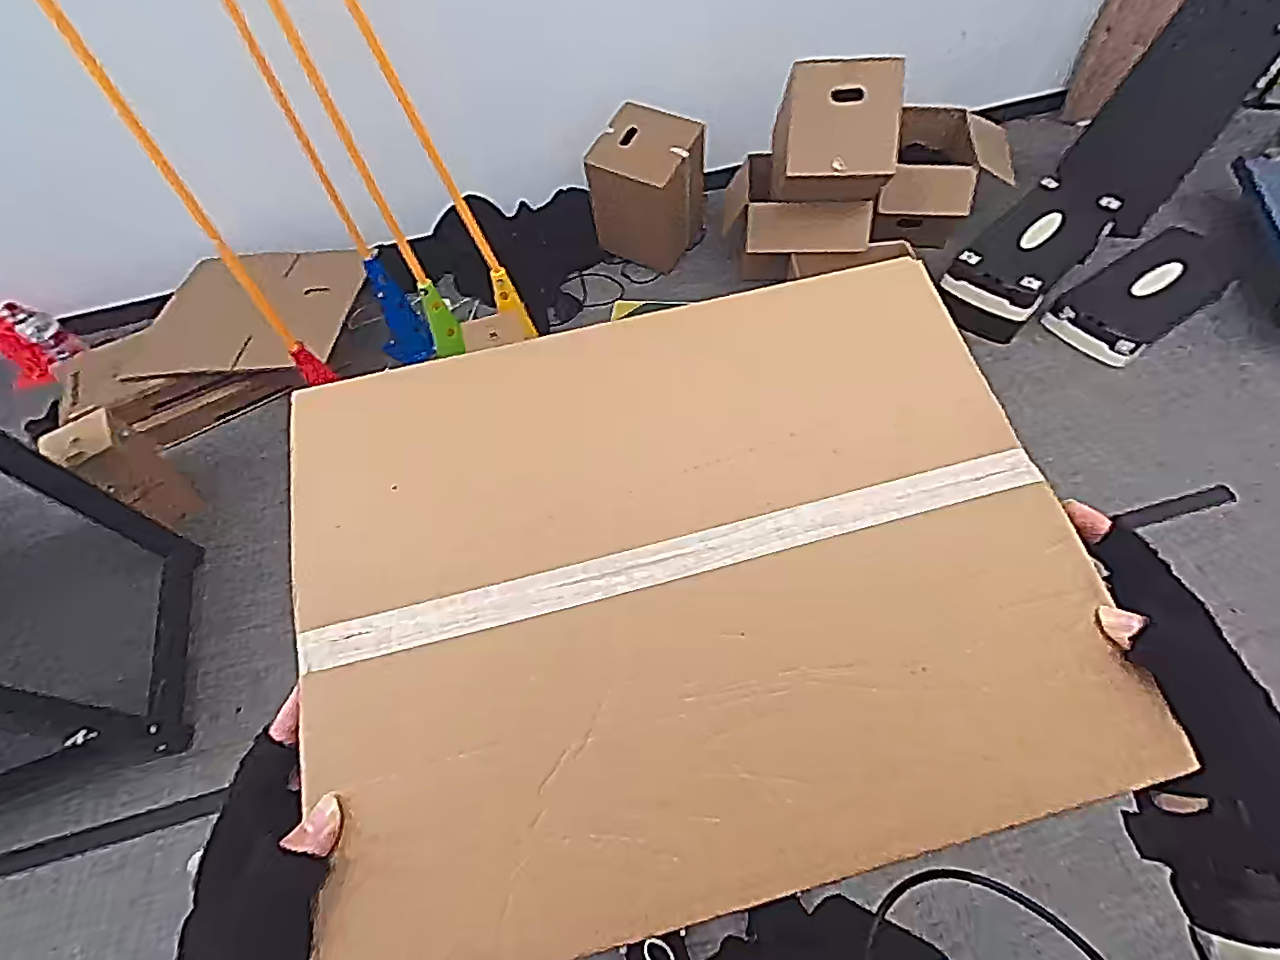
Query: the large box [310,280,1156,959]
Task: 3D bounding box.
[{"bbox_3d":[0.030,0.102,0.437,0.408,0.320,0.320,-14,69,-4],"label":"large box"}]
